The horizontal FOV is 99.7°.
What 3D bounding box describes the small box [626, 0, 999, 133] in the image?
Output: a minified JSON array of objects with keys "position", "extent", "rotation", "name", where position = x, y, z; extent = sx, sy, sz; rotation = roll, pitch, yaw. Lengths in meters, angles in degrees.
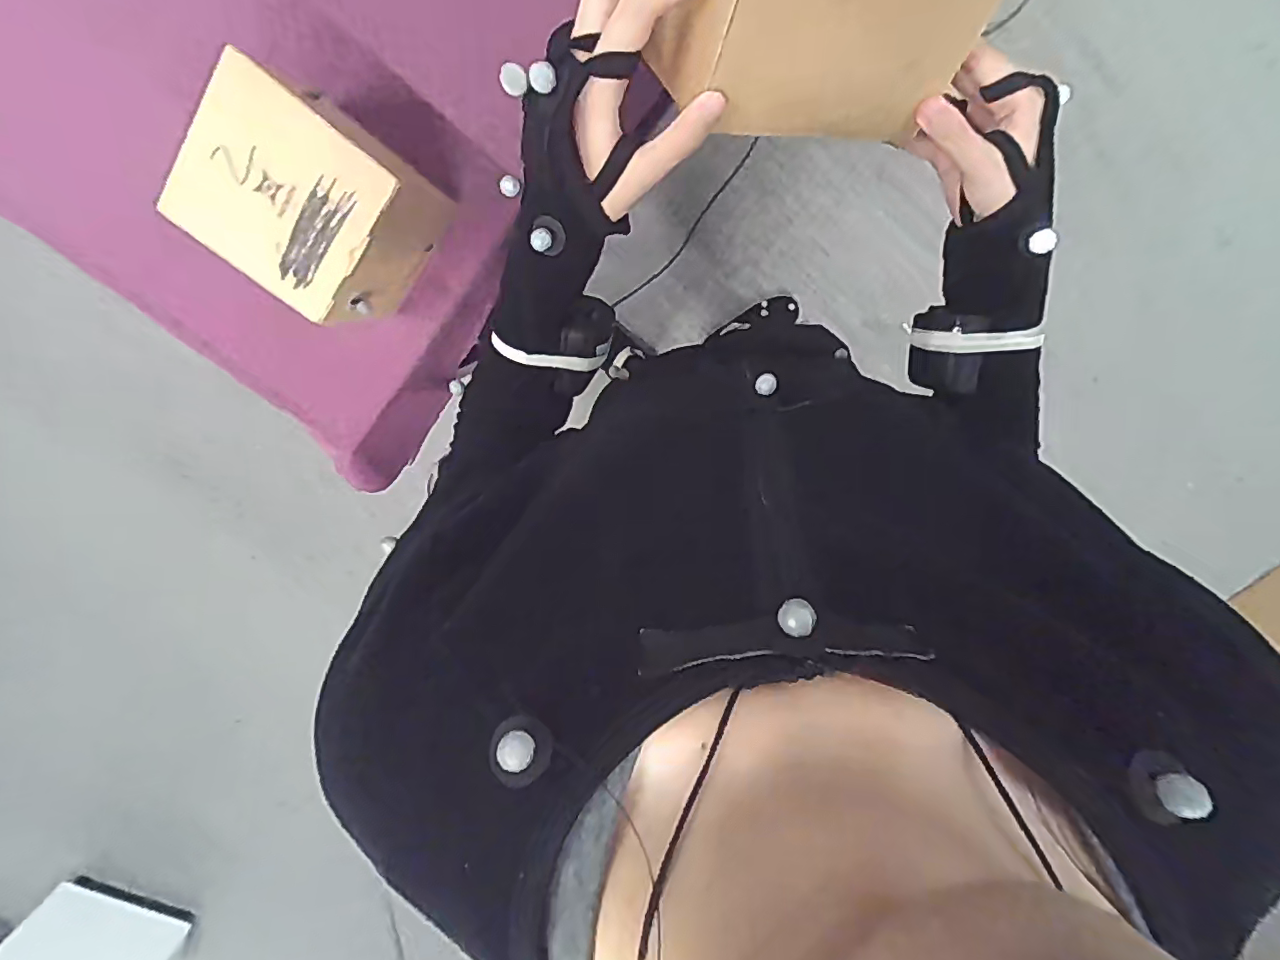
[{"position":[0.090,-0.314,0.270],"extent":[0.168,0.176,0.179],"rotation":[-13,155,-23],"name":"small box"}]
